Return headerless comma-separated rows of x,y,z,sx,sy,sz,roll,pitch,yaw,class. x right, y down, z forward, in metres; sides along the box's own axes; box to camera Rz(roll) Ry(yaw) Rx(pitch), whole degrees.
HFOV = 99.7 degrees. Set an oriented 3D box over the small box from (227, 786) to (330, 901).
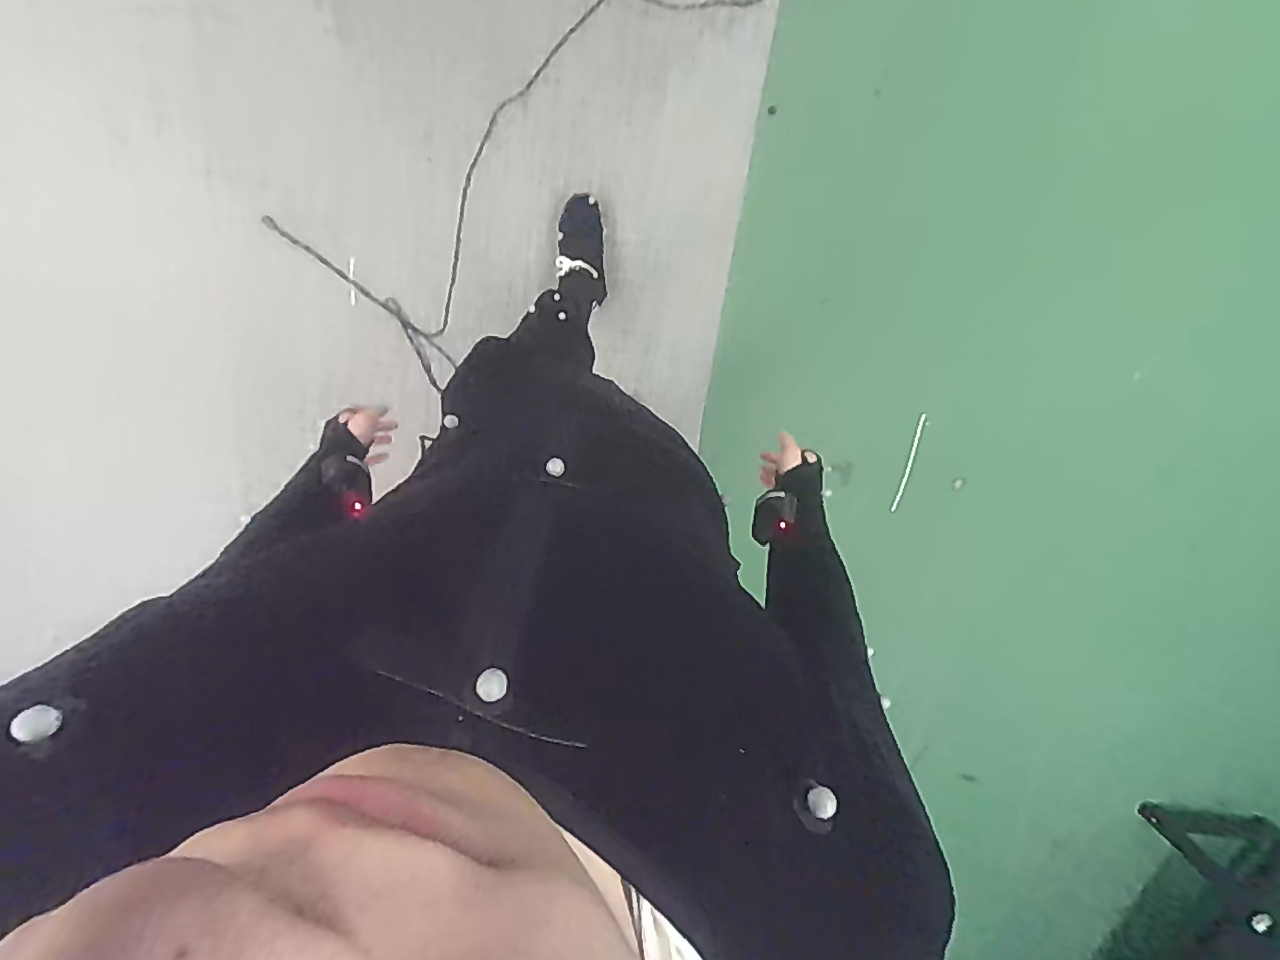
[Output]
-0.930,0.938,1.401,0.168,0.176,0.179,12,107,-6,small box
